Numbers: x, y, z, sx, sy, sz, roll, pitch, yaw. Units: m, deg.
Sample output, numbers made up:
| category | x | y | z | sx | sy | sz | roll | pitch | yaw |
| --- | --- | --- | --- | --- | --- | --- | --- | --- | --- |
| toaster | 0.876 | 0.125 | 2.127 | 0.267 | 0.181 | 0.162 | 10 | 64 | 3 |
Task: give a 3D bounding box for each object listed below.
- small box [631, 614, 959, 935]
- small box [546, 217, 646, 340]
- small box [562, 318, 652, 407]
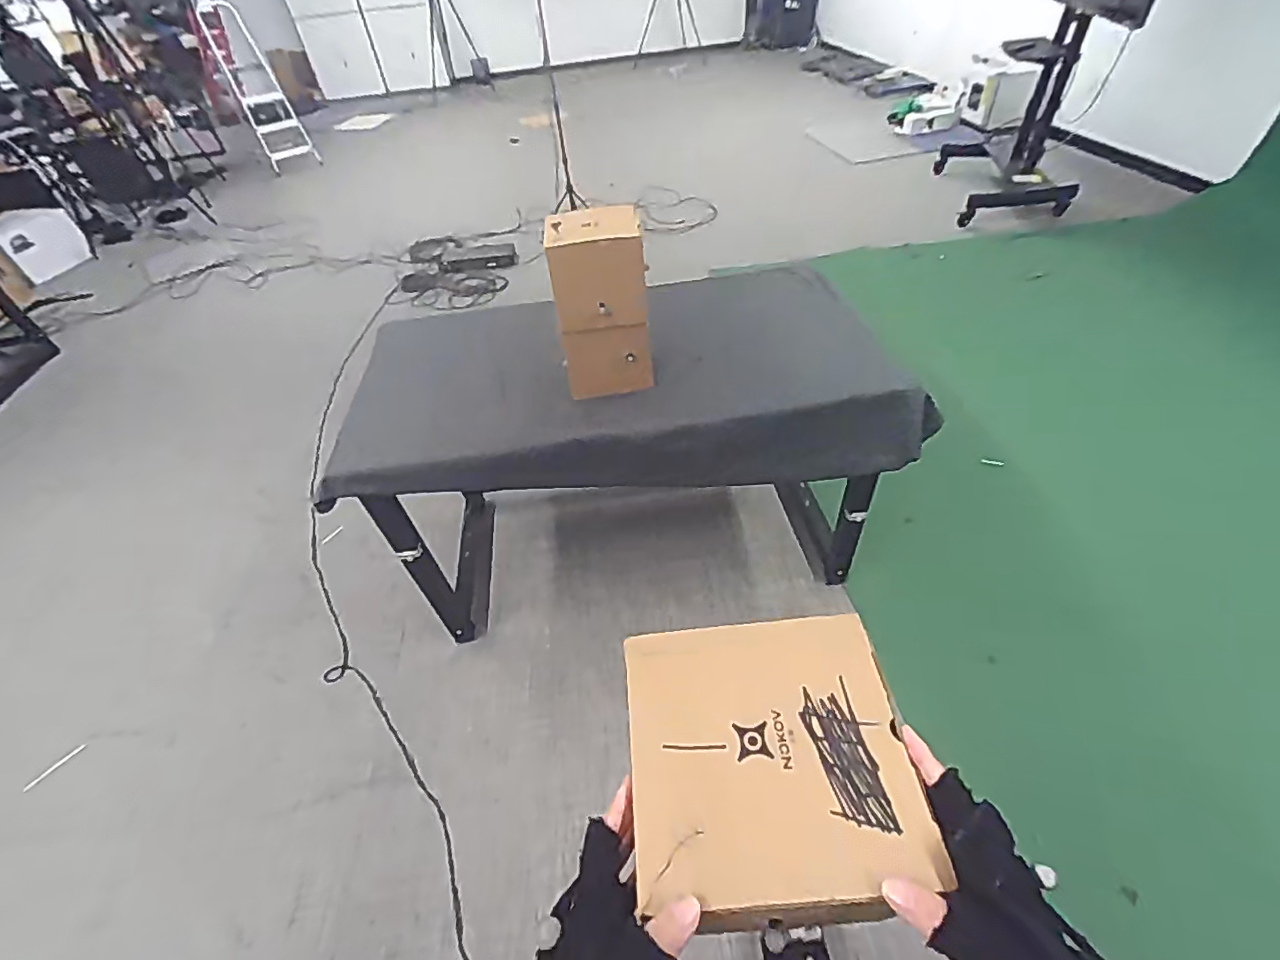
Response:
| category | x | y | z | sx | sy | sz | roll | pitch | yaw |
| --- | --- | --- | --- | --- | --- | --- | --- | --- | --- |
| small box | 0.090 | 0.225 | 0.412 | 0.179 | 0.176 | 0.168 | -7 | 46 | -3 |
| small box | -0.082 | -0.396 | 1.066 | 0.179 | 0.176 | 0.168 | -7 | 43 | -1 |
| small box | -0.071 | -0.281 | 1.182 | 0.179 | 0.176 | 0.168 | -10 | 43 | -2 |
